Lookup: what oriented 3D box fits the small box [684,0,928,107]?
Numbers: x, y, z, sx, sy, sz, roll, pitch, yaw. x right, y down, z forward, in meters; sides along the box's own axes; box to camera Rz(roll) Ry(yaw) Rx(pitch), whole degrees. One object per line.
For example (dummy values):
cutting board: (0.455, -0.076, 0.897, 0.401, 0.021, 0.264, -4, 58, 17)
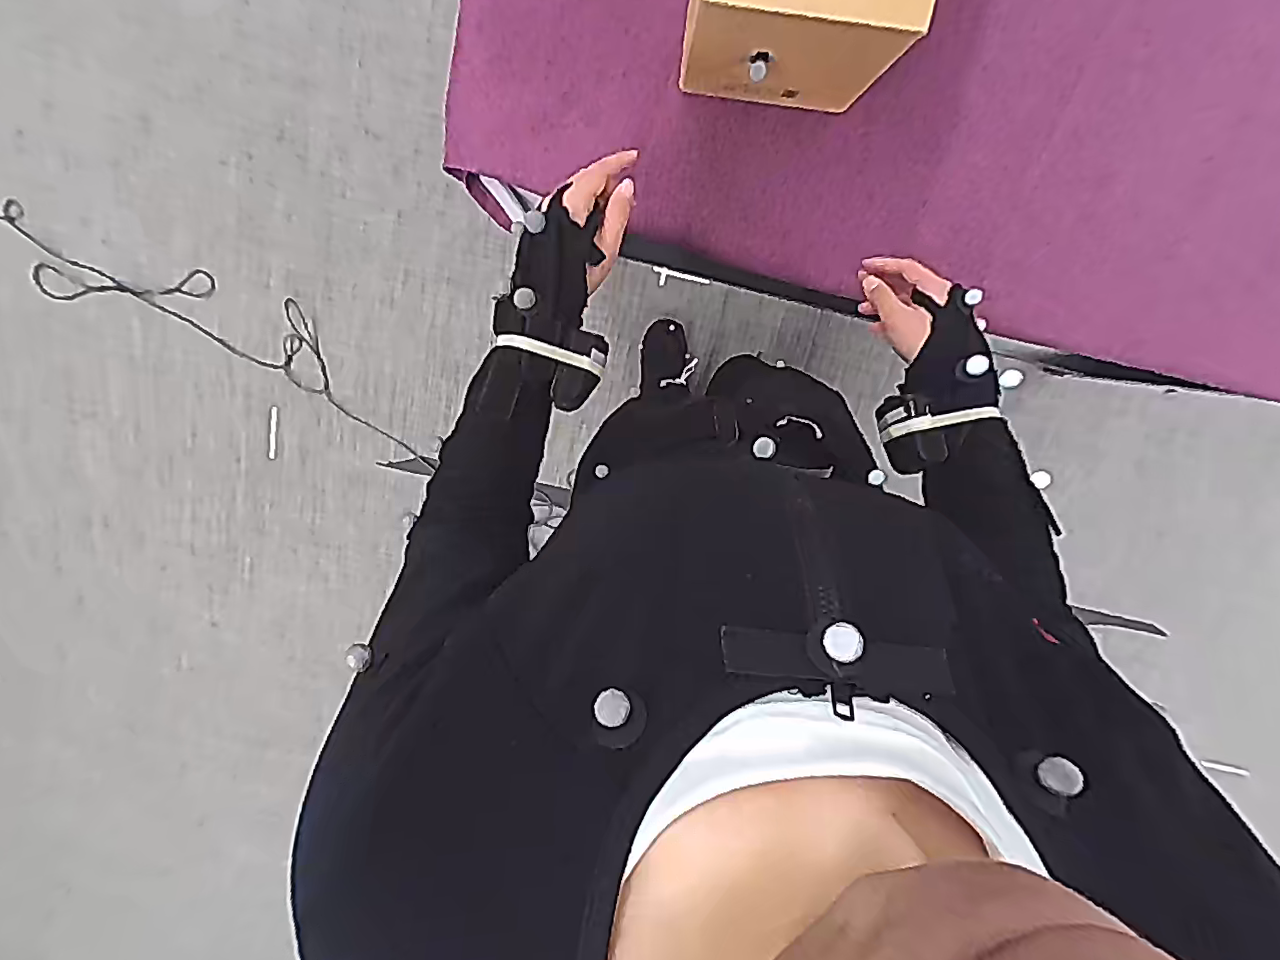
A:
small box: (0.129, -0.431, 0.431, 0.168, 0.176, 0.179, 6, 106, -2)
